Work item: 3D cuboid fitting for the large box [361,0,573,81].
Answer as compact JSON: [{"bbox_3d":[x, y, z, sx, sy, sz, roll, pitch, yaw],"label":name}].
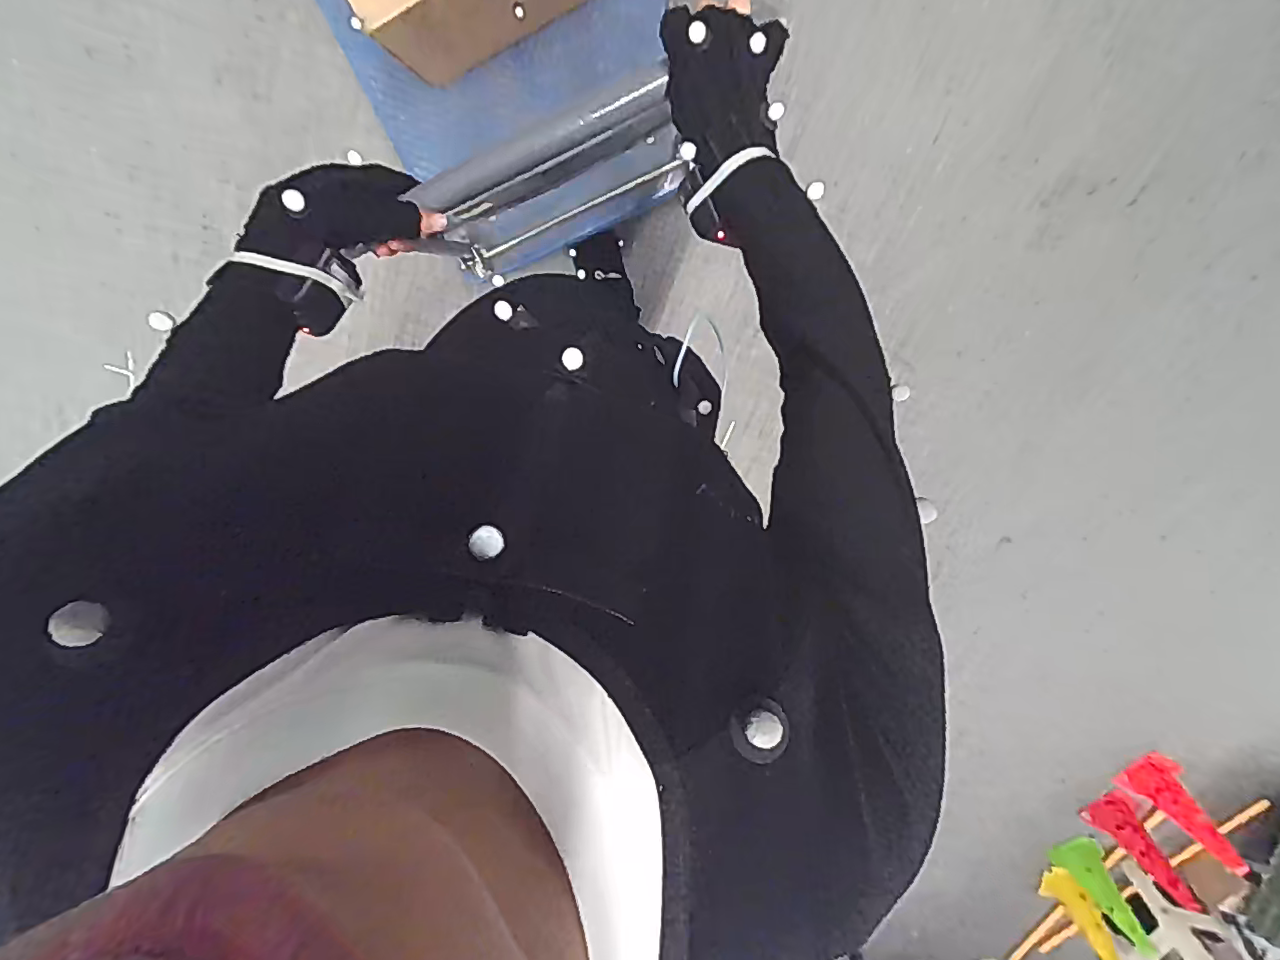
[{"bbox_3d":[-0.254,-0.886,0.792,0.408,0.320,0.320,-24,112,9],"label":"large box"}]
